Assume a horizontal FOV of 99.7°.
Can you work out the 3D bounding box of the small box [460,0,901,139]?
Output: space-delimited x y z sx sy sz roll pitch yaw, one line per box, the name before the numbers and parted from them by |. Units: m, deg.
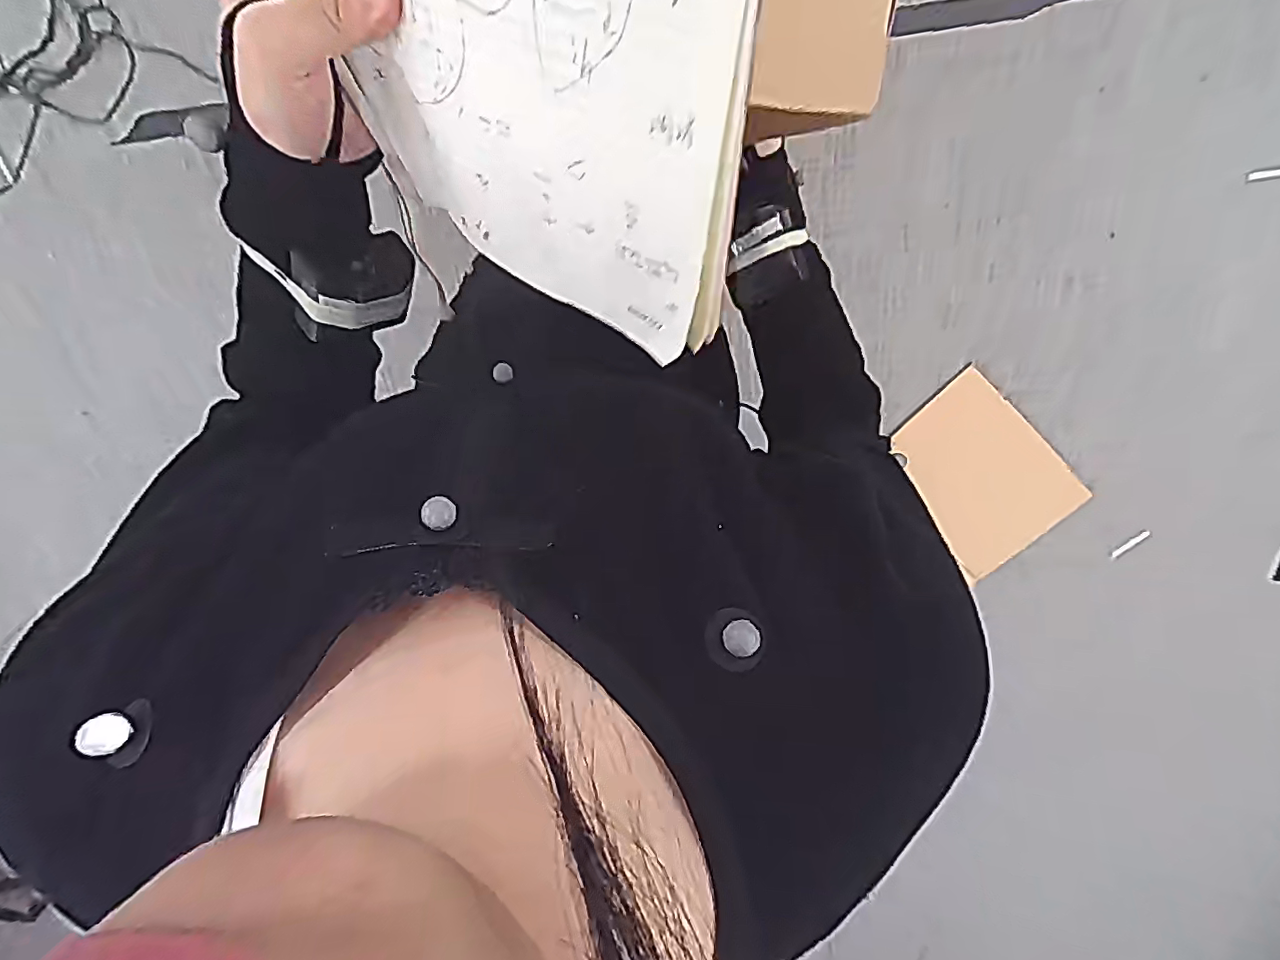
small box | 0.007 -0.271 0.256 0.179 0.176 0.168 -7 117 -17
